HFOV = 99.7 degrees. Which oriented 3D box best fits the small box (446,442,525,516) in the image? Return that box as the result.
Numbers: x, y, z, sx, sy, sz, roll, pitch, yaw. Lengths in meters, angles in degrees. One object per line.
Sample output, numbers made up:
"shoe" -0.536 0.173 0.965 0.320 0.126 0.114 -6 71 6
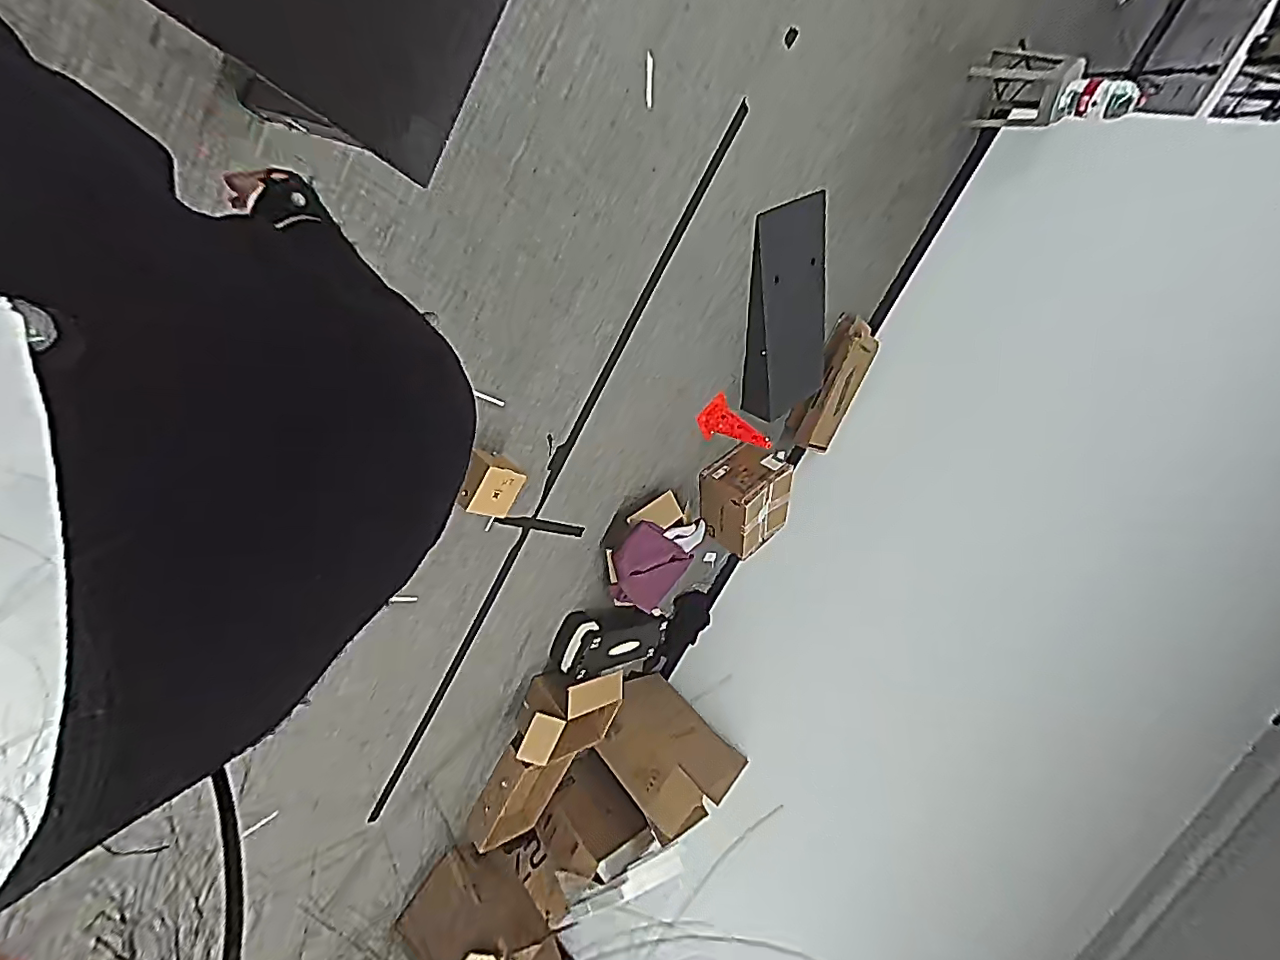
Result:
"small box" -0.531 -0.003 1.836 0.168 0.176 0.179 20 102 -54
